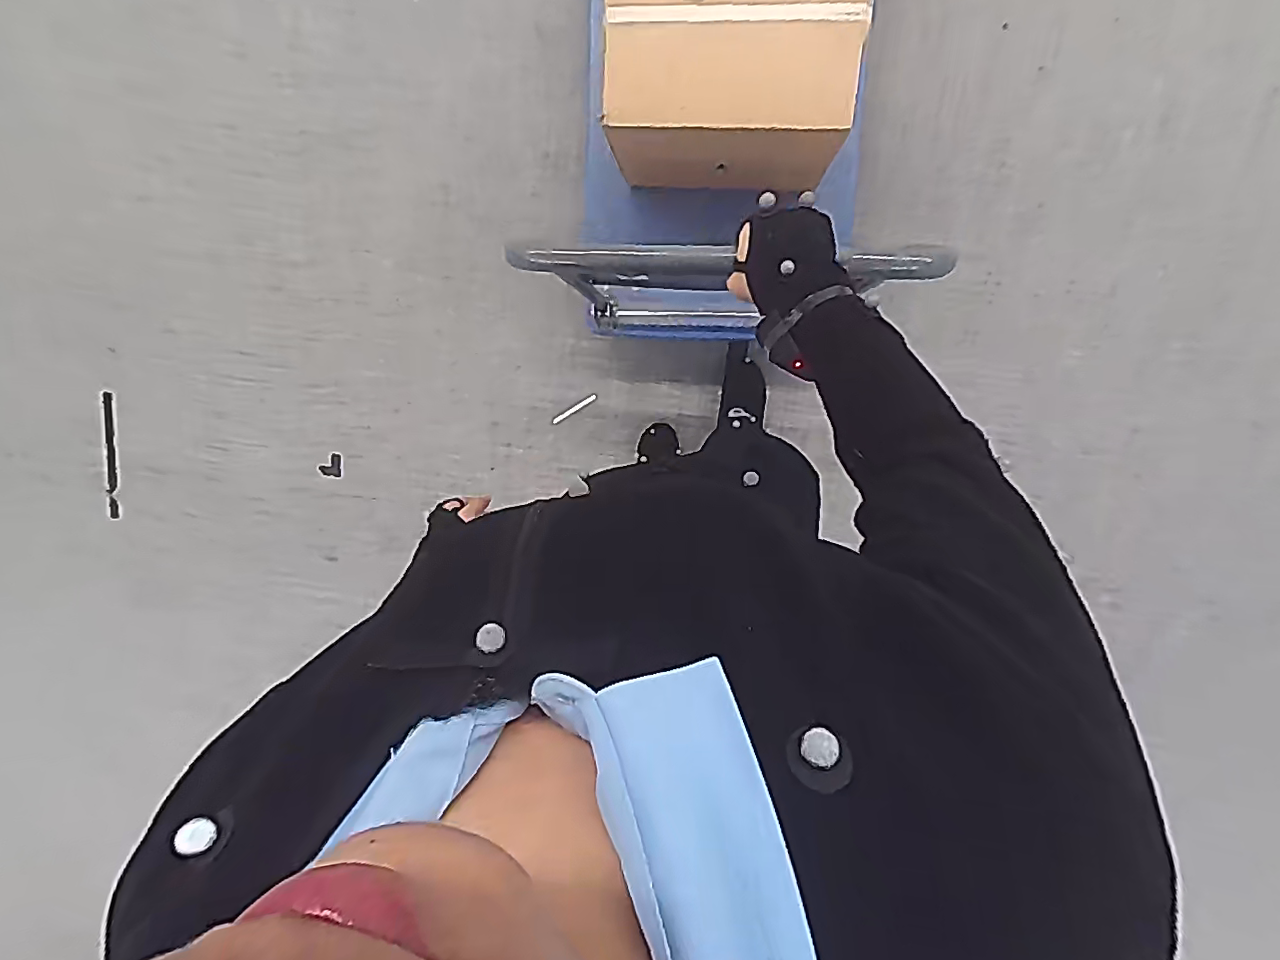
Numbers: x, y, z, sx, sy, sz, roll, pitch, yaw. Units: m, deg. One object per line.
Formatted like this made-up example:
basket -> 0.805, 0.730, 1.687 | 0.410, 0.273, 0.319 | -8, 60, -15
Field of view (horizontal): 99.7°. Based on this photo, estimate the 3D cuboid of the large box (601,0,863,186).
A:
large box -> 0.160, -0.745, 0.978 | 0.408, 0.320, 0.320 | 5, 101, 7
